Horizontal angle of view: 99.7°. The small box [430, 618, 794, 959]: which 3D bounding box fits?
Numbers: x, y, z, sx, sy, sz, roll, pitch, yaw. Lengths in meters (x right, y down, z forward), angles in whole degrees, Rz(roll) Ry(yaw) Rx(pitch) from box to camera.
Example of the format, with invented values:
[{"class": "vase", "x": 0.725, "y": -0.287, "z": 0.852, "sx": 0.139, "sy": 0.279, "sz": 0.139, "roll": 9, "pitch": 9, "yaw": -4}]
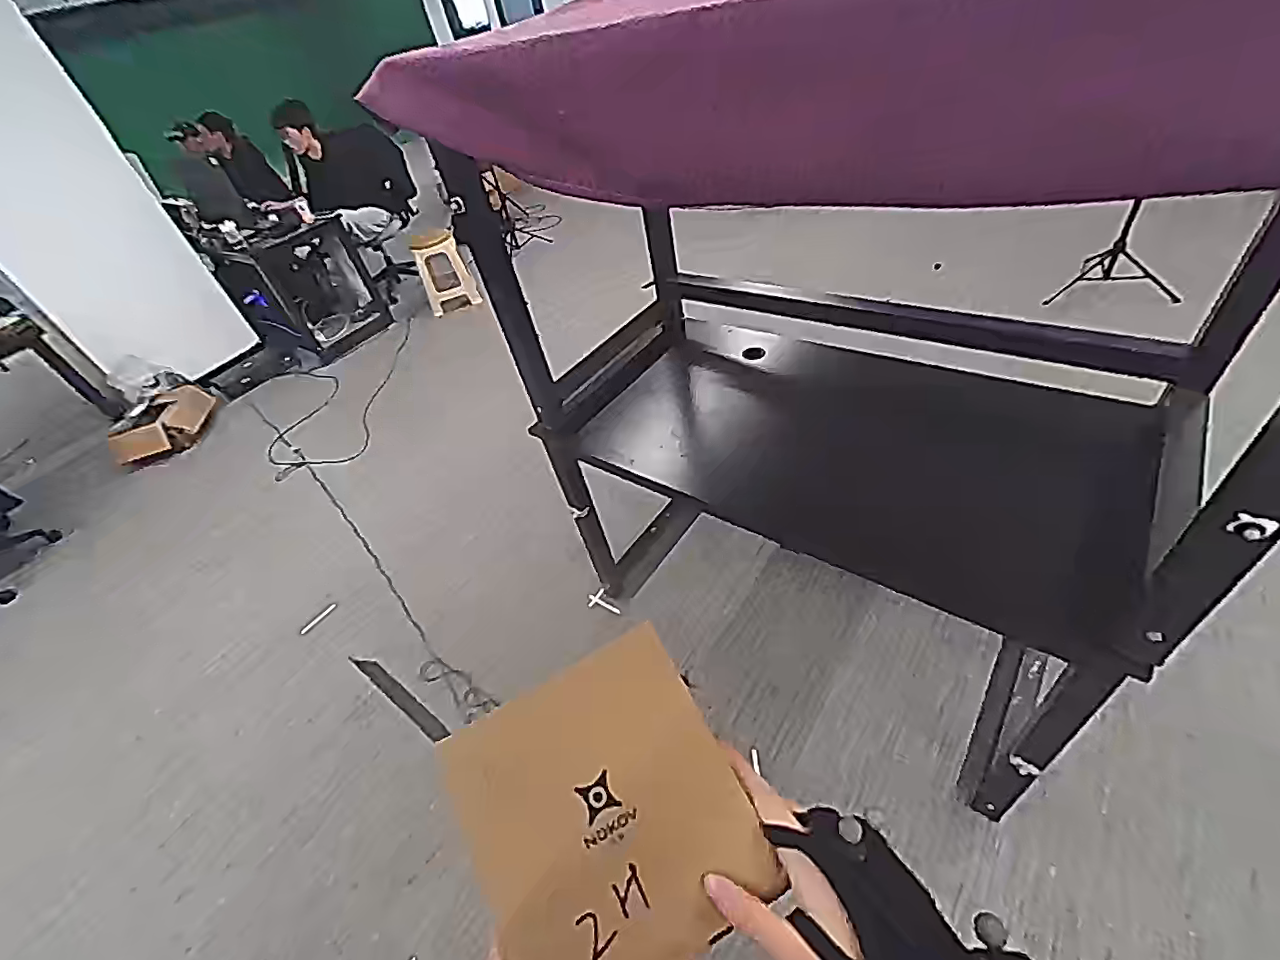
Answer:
[{"class": "small box", "x": -0.019, "y": 0.229, "z": 0.394, "sx": 0.168, "sy": 0.176, "sz": 0.179, "roll": -28, "pitch": 67, "yaw": -8}]
